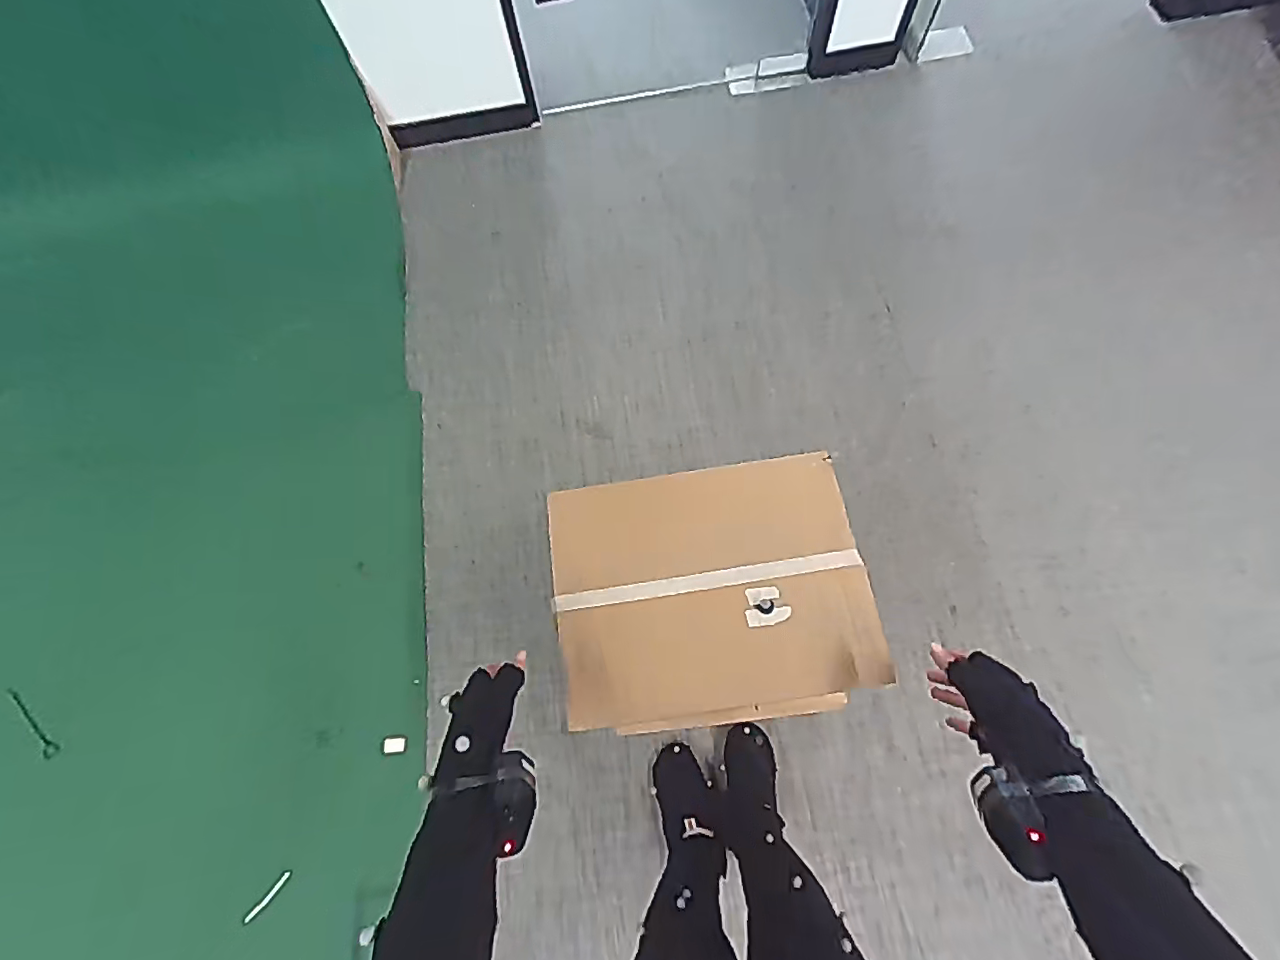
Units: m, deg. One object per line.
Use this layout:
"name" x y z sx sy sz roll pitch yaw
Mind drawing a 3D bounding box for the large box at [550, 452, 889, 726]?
"large box" 0.094 0.186 0.845 0.408 0.320 0.320 -8 67 0
